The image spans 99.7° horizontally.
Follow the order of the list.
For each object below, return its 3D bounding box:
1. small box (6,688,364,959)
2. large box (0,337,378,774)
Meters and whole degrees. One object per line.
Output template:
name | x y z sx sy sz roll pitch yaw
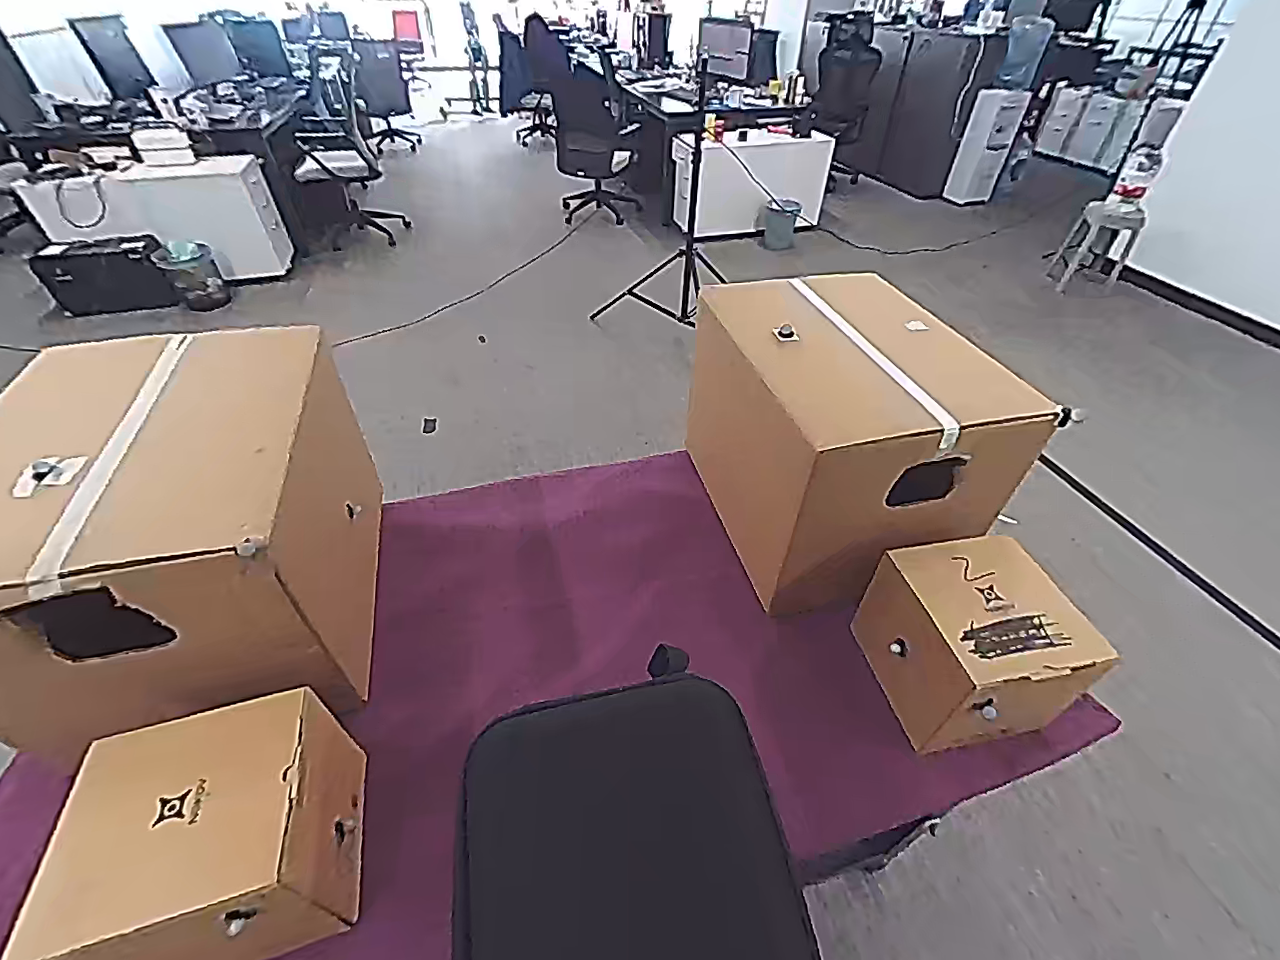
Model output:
small box | -0.376 0.328 0.496 0.179 0.176 0.168 -12 42 -15
large box | -0.529 0.068 0.671 0.320 0.320 0.408 -11 46 -14
